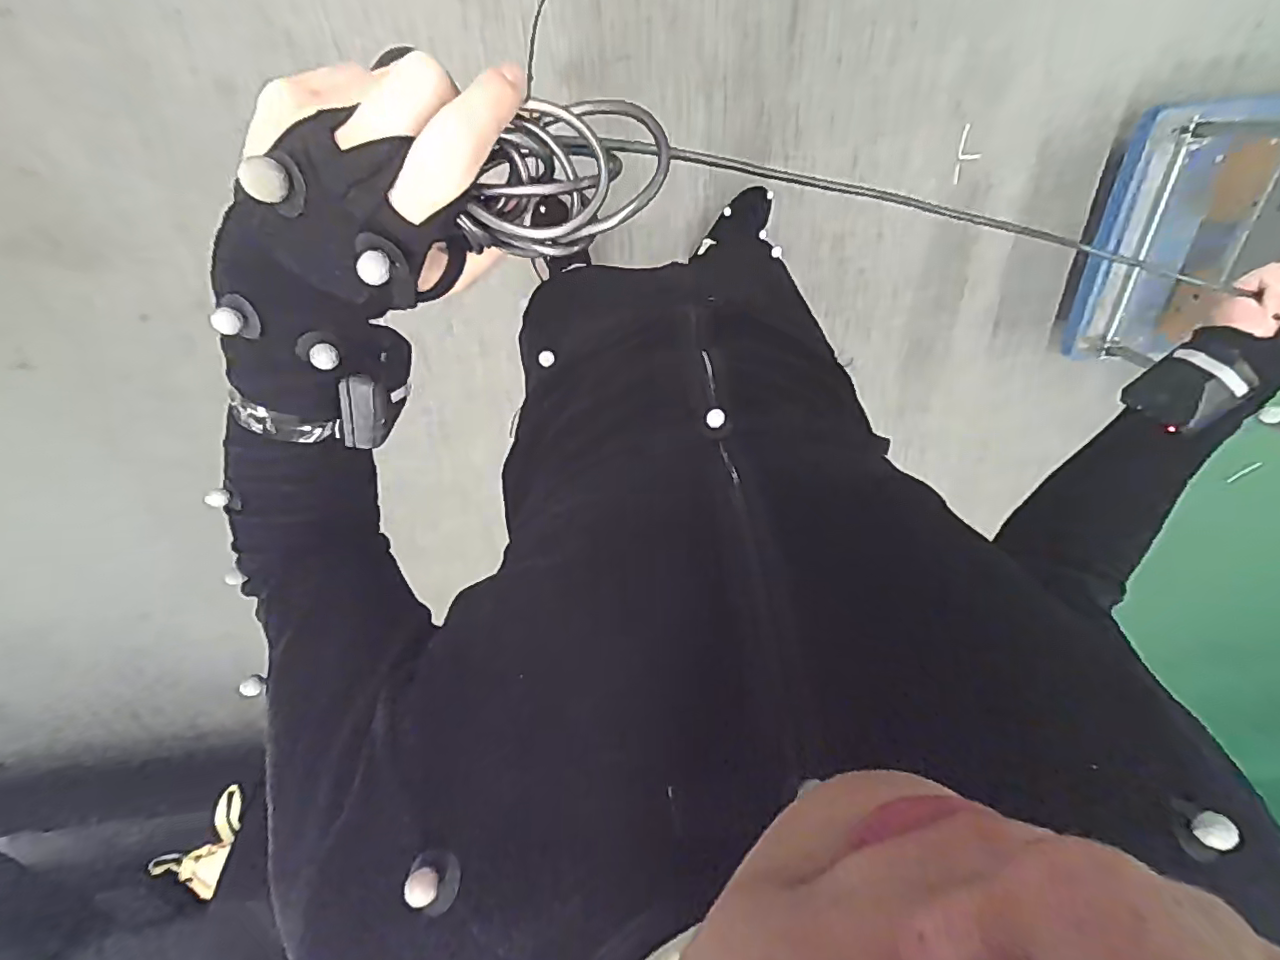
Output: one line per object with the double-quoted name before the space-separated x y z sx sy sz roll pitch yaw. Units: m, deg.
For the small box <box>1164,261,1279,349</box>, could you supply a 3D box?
"small box" 1.465 -0.430 1.318 0.179 0.176 0.168 -4 122 0
